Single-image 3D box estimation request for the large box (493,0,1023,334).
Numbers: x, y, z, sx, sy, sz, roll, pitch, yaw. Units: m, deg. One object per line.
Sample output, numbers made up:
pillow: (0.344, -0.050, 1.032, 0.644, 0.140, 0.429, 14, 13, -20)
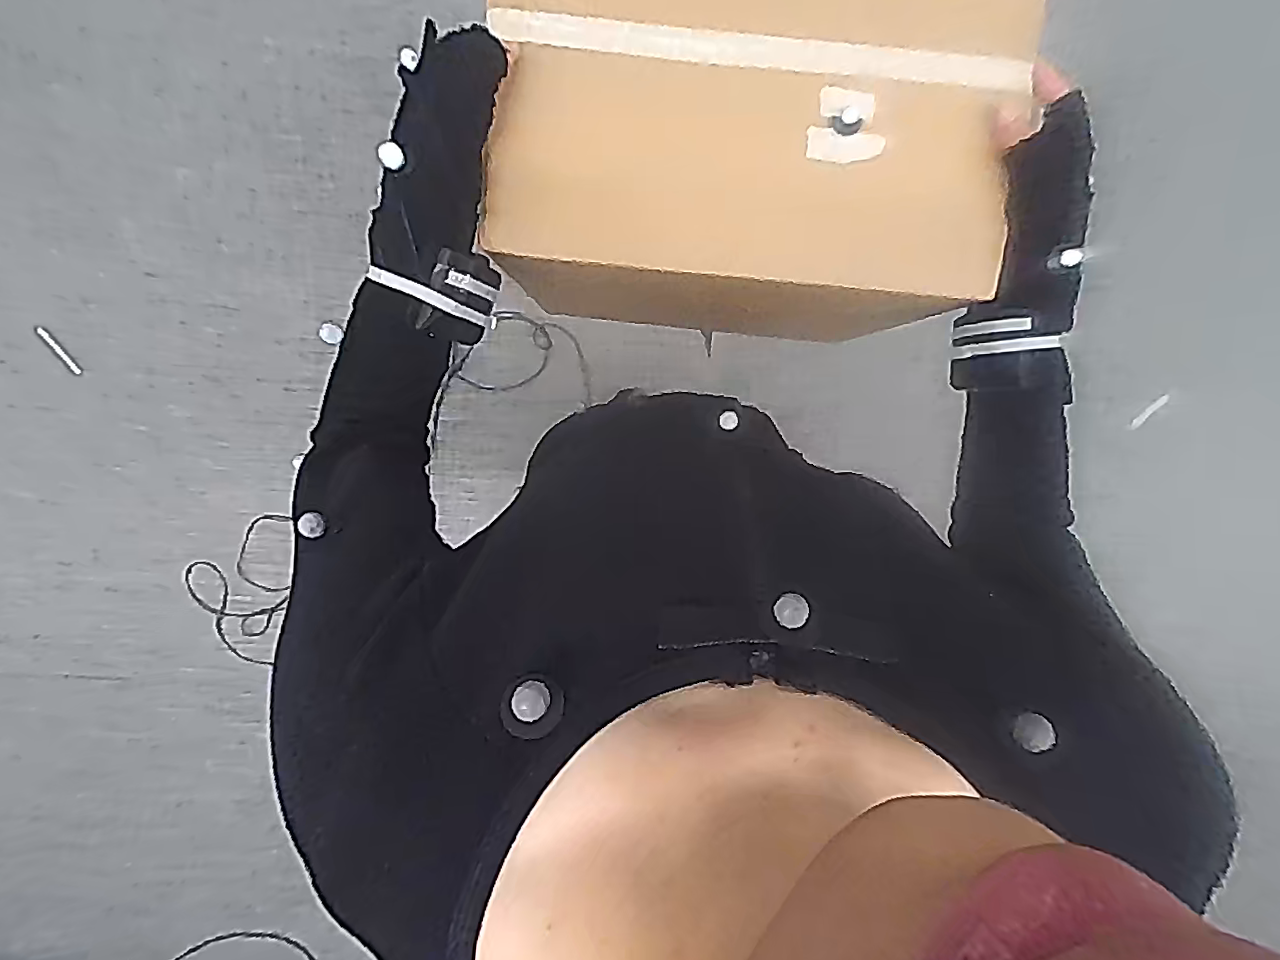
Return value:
large box: (0.084, -0.342, 0.562, 0.408, 0.320, 0.320, 5, 98, -2)
